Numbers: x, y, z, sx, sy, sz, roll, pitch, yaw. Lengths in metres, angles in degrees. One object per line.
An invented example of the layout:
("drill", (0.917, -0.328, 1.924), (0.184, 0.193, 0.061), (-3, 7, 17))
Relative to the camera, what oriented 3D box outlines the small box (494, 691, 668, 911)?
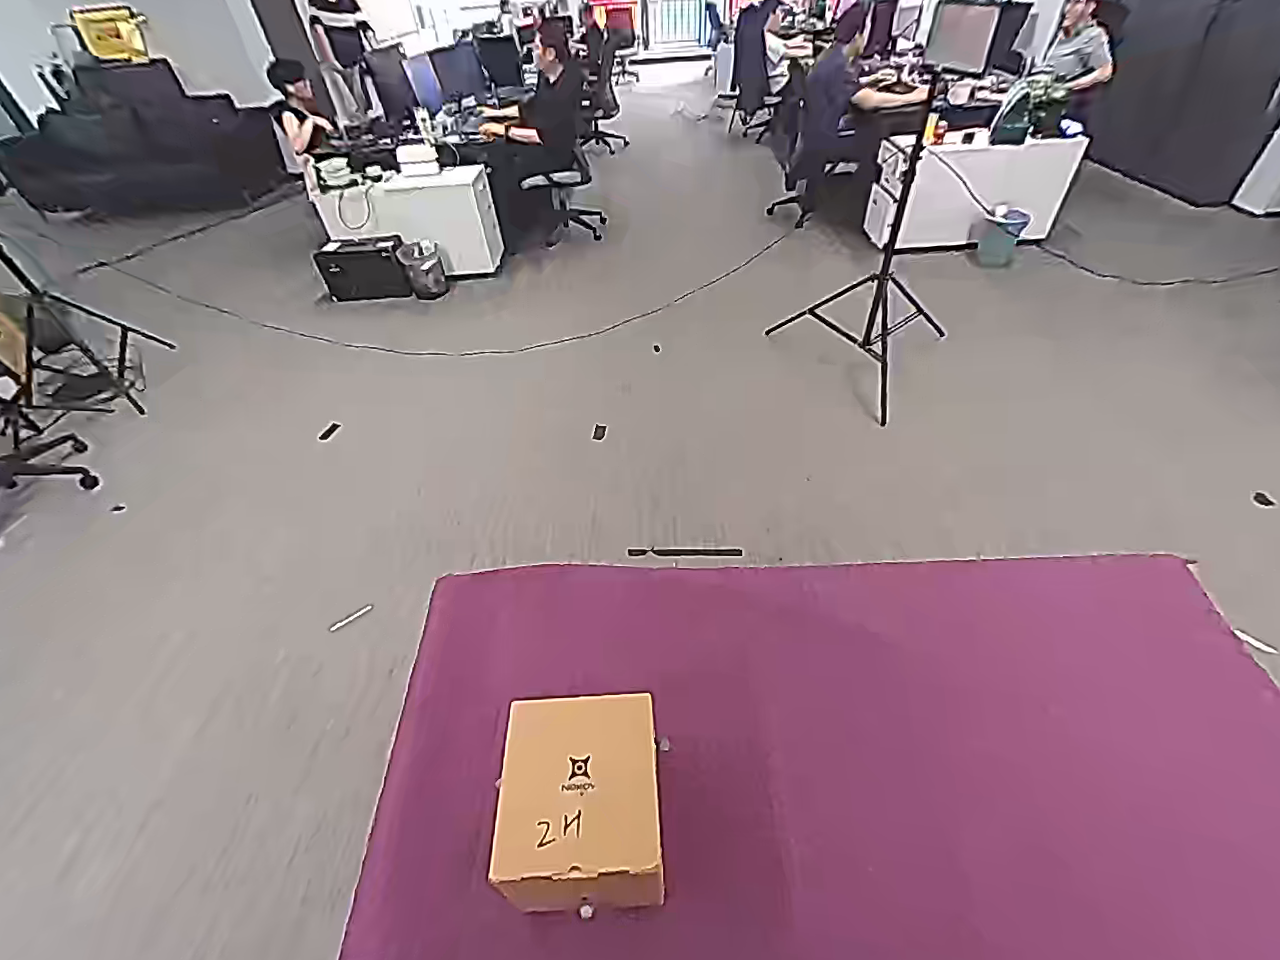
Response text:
("small box", (-0.056, 0.367, 0.620), (0.168, 0.176, 0.179), (-4, 44, 0))
